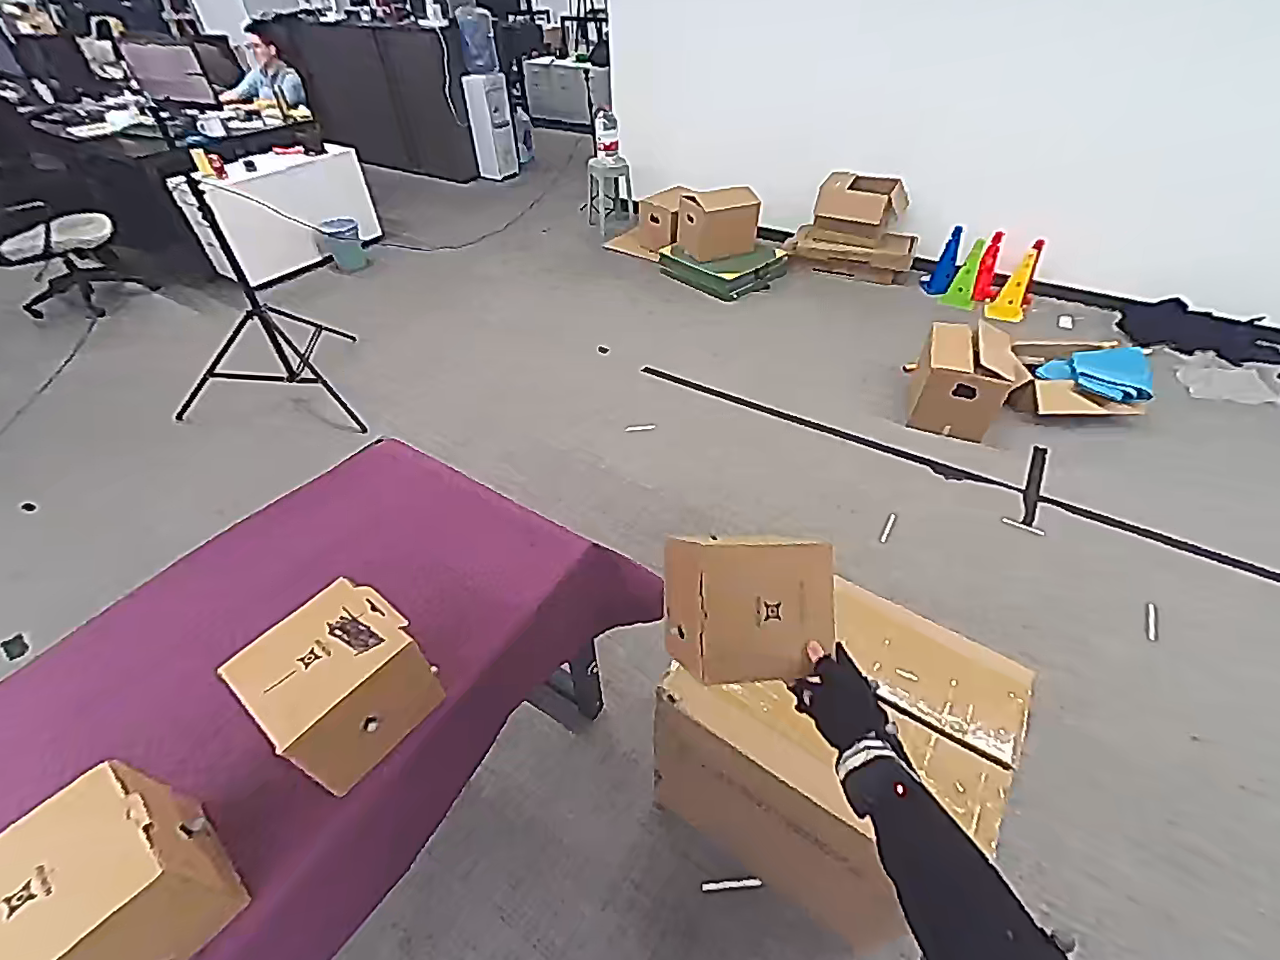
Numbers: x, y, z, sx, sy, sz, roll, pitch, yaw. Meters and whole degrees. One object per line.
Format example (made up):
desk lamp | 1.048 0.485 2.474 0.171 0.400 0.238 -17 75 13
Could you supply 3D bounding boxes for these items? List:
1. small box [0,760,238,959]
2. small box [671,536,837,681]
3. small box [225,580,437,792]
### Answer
small box | -0.570 0.447 0.570 0.168 0.176 0.179 29 50 28
small box | 0.142 0.163 0.731 0.179 0.176 0.168 1 86 -12
small box | -0.404 0.280 0.741 0.168 0.176 0.179 28 51 27
